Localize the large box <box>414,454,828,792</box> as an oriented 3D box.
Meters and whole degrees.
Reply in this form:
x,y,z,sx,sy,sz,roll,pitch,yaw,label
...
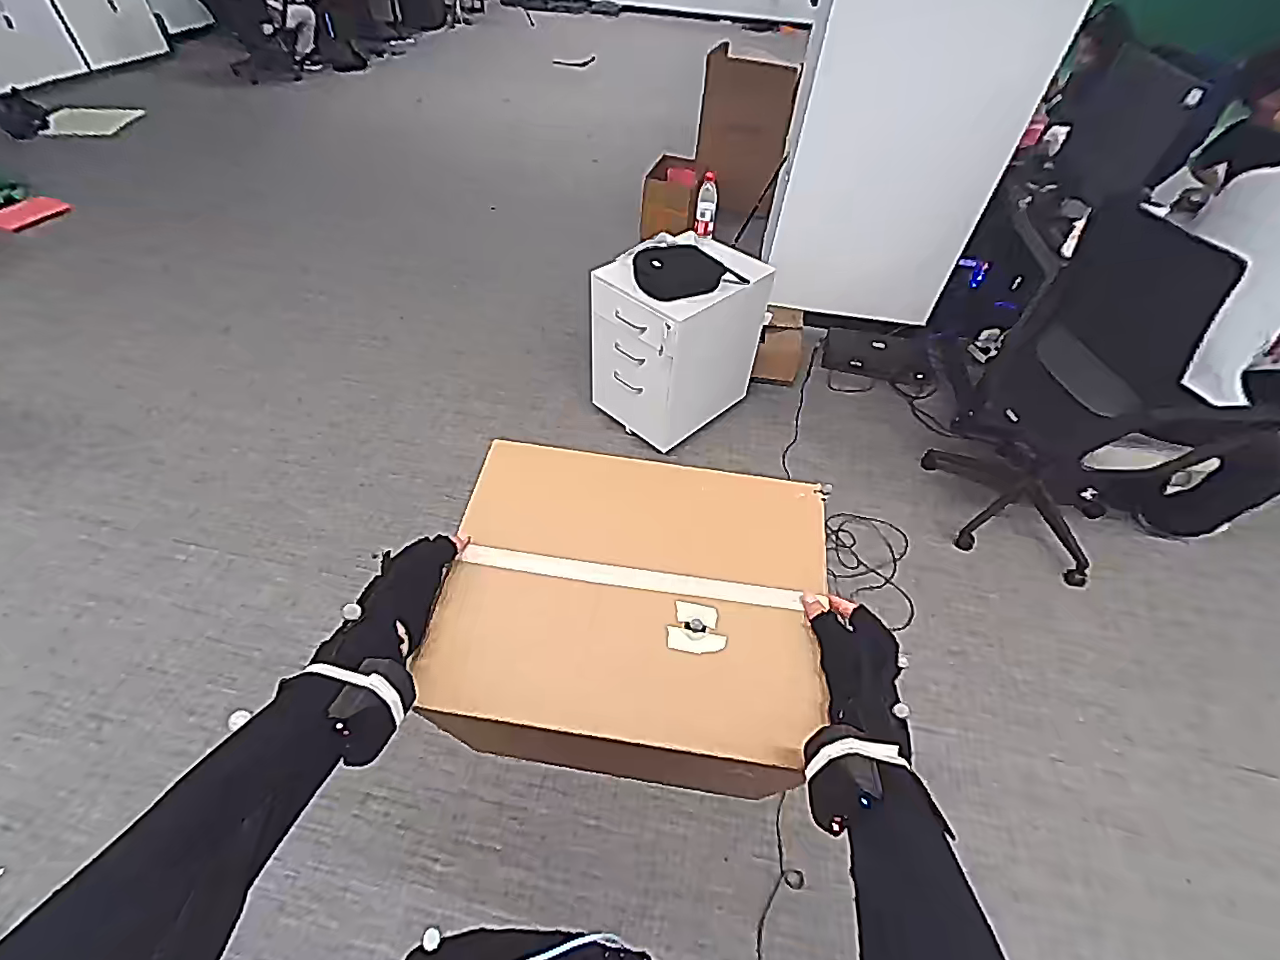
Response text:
x,y,z,sx,sy,sz,roll,pitch,yaw,label
-0.011,0.199,0.713,0.408,0.320,0.320,8,56,2,large box
